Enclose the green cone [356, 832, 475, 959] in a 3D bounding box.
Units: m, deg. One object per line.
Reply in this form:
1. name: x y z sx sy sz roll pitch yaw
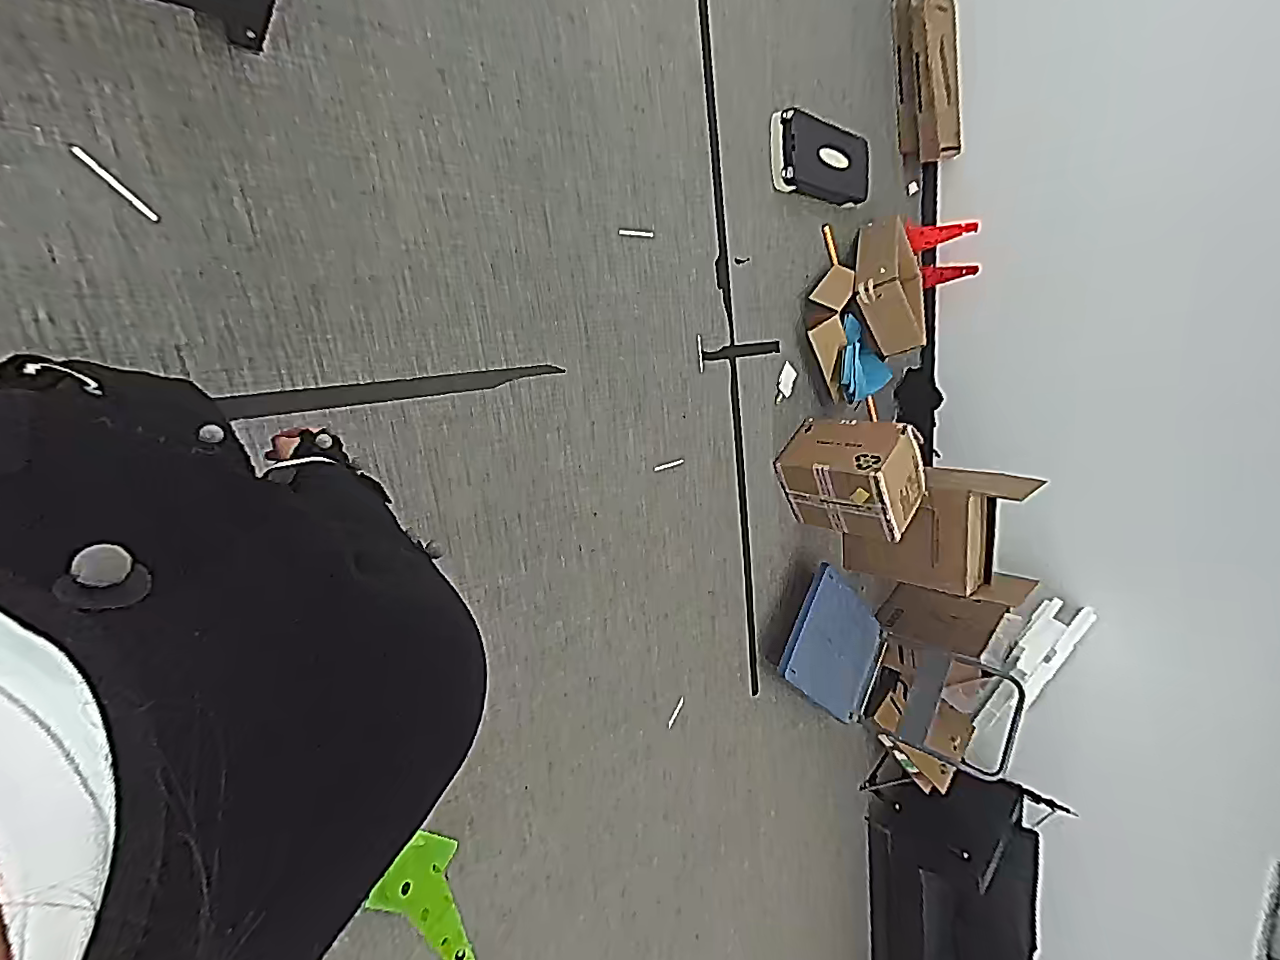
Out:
1. green cone: -0.517 1.094 1.352 0.200 0.368 0.202 48 63 -37
